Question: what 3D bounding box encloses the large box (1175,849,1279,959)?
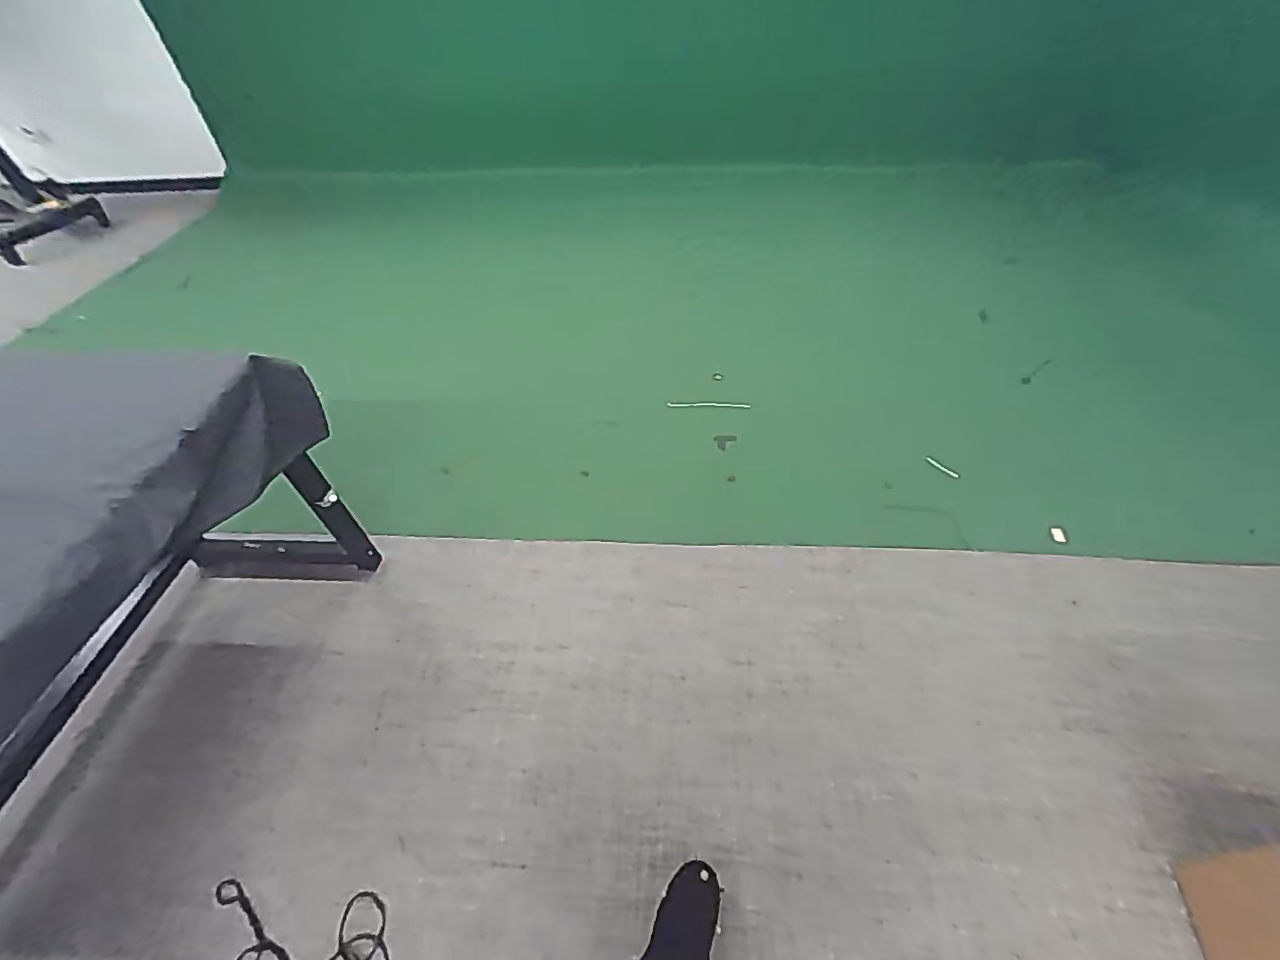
[{"bbox_3d":[1.155,0.822,0.804,0.320,0.320,0.408,5,49,10],"label":"large box"}]
